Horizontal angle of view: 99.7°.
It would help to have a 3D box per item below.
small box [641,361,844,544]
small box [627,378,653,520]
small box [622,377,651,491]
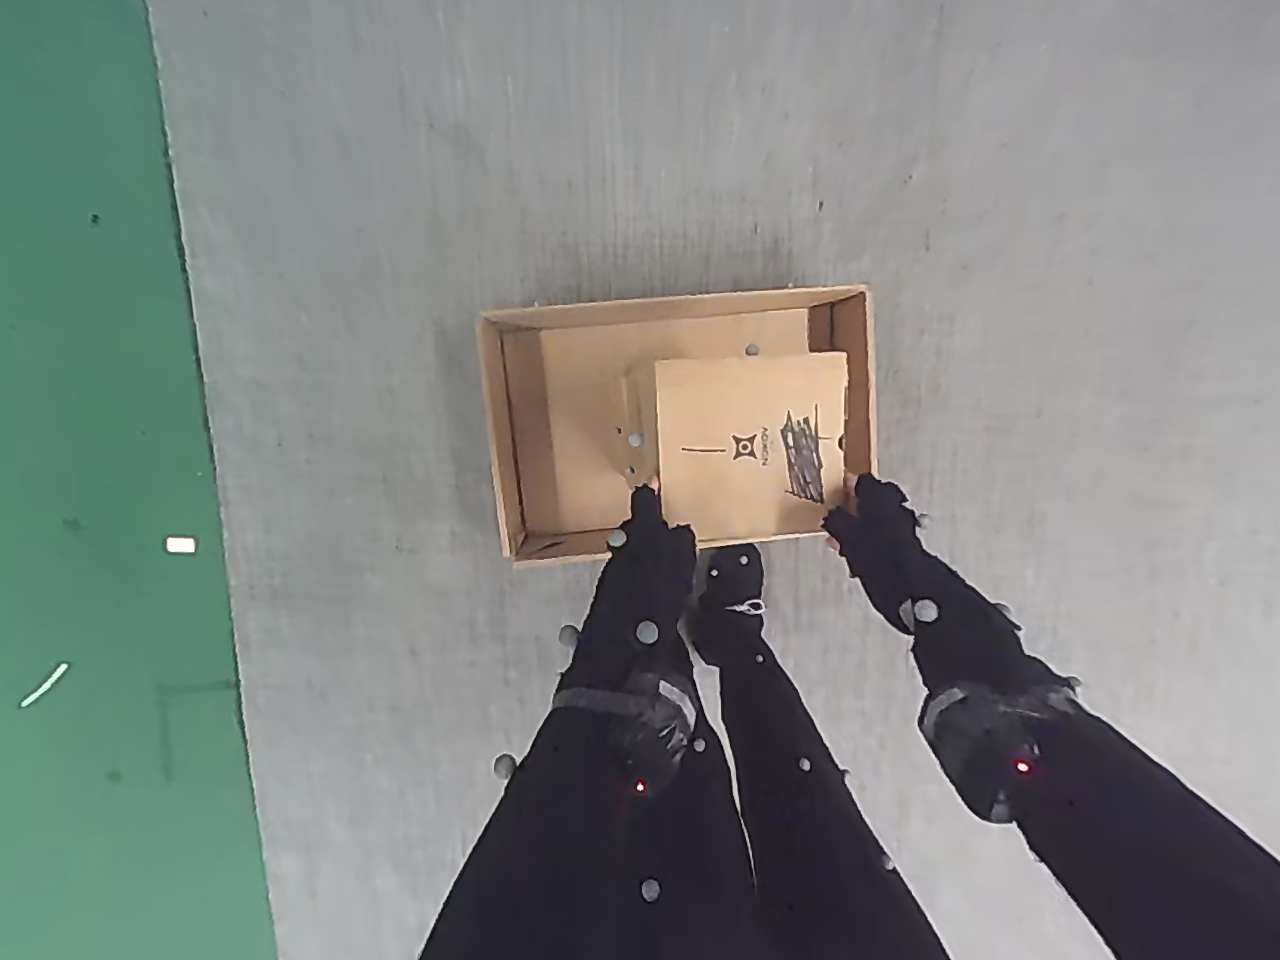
[{"bbox_3d":[0.097,-0.037,0.575,0.179,0.176,0.168,-4,98,-3],"label":"small box"},{"bbox_3d":[0.075,-0.057,0.738,0.168,0.176,0.179,-8,100,-3],"label":"small box"},{"bbox_3d":[0.059,-0.087,0.914,0.168,0.176,0.179,-5,99,-4],"label":"small box"}]
